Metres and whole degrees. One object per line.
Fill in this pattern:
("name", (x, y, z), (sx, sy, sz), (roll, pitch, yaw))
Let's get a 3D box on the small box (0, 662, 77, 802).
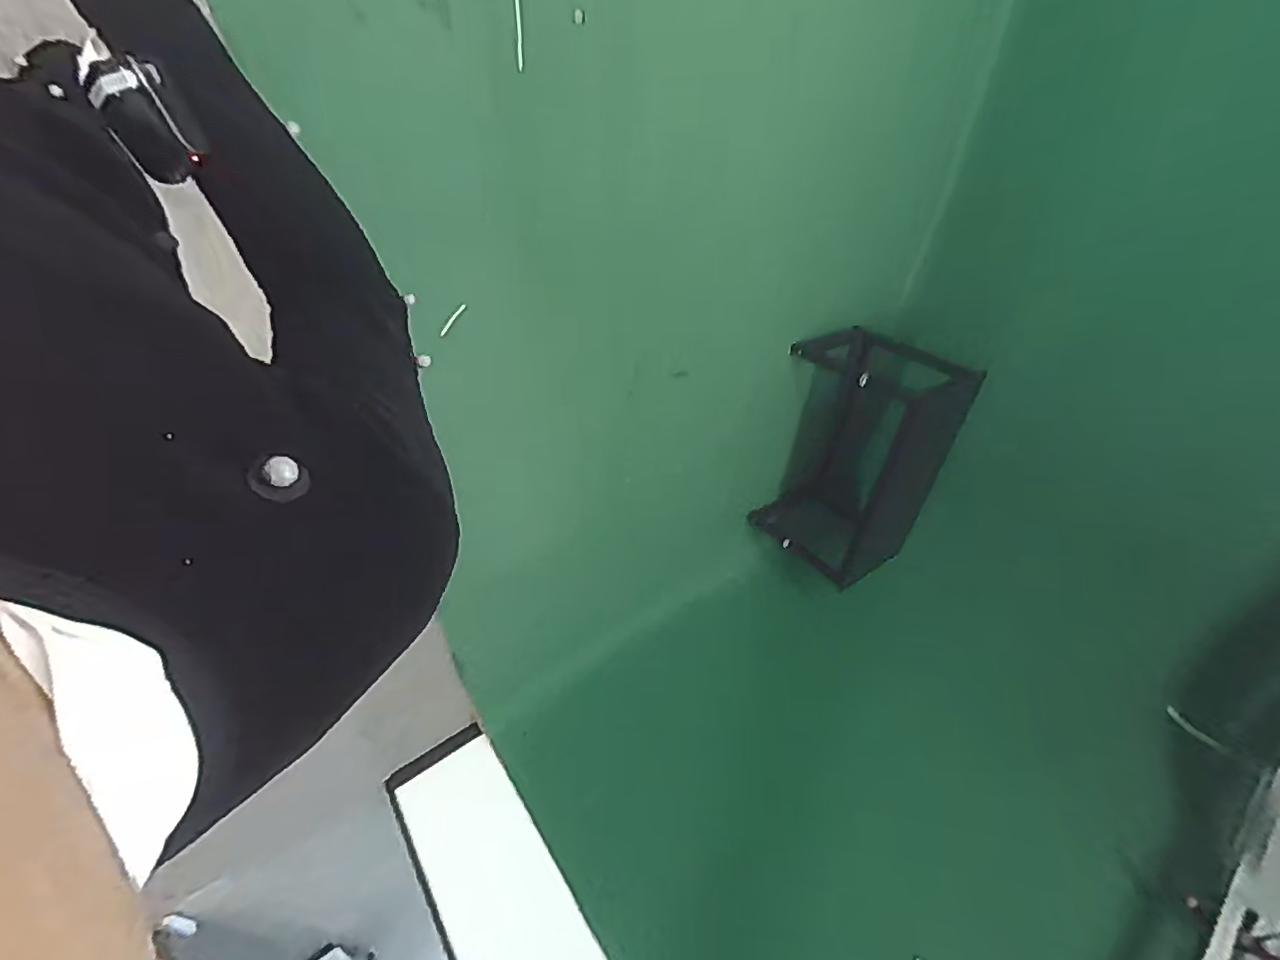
("small box", (-1.206, 0.479, 1.008), (0.168, 0.176, 0.179), (-22, 133, -29))
